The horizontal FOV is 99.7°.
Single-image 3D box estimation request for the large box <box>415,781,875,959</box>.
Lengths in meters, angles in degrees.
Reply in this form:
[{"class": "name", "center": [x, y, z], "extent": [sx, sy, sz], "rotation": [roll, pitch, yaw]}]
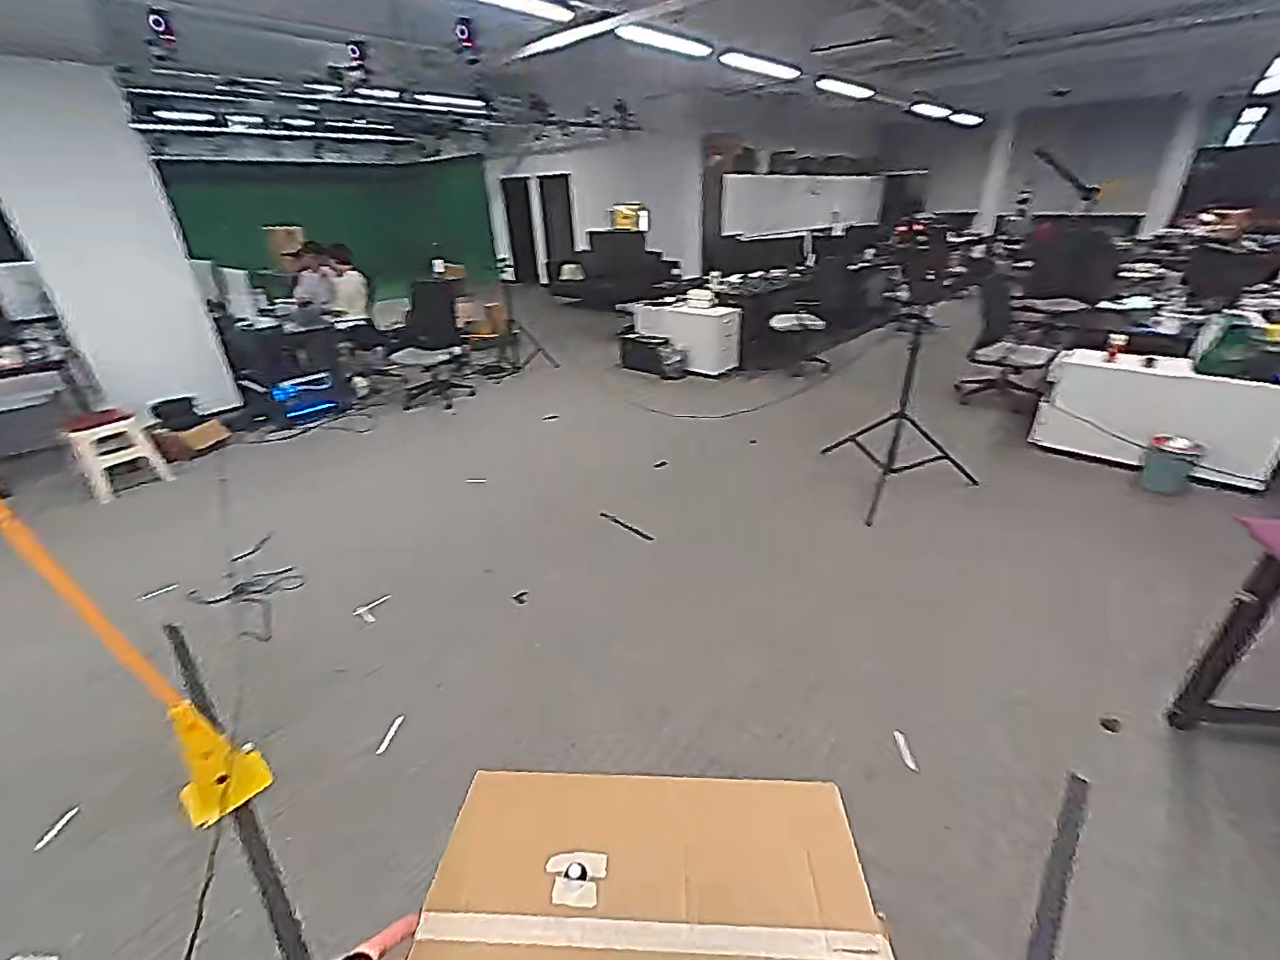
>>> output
[{"class": "large box", "center": [0.012, 0.541, 0.532], "extent": [0.408, 0.320, 0.320], "rotation": [-2, 23, 4]}]
